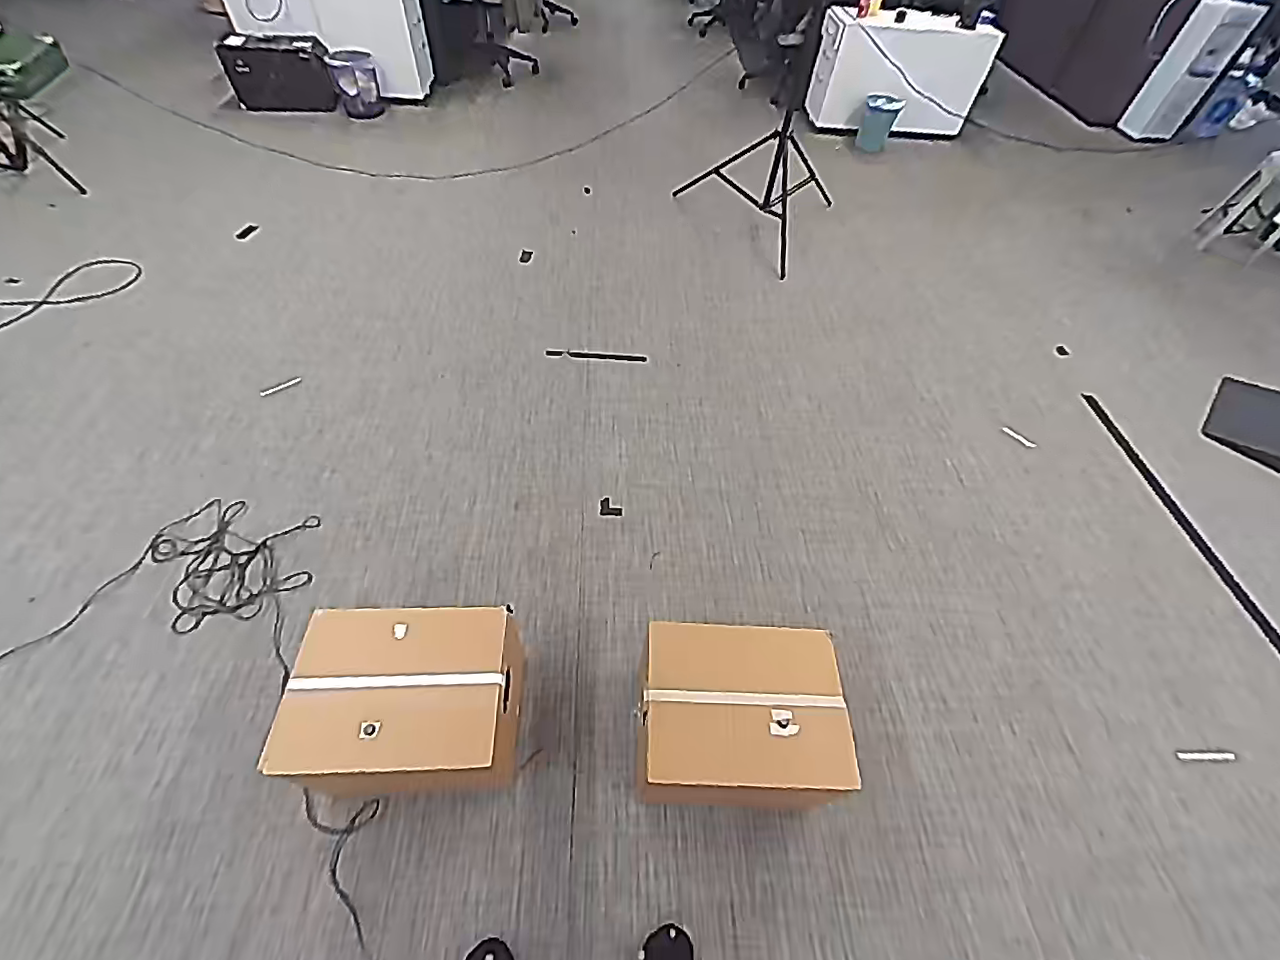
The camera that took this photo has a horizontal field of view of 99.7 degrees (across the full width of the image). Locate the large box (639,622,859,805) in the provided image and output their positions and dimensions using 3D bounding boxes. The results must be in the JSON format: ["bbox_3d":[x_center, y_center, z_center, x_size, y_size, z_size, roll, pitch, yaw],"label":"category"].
[{"bbox_3d":[0.208,0.534,1.218,0.408,0.320,0.320,4,53,-3],"label":"large box"}]
